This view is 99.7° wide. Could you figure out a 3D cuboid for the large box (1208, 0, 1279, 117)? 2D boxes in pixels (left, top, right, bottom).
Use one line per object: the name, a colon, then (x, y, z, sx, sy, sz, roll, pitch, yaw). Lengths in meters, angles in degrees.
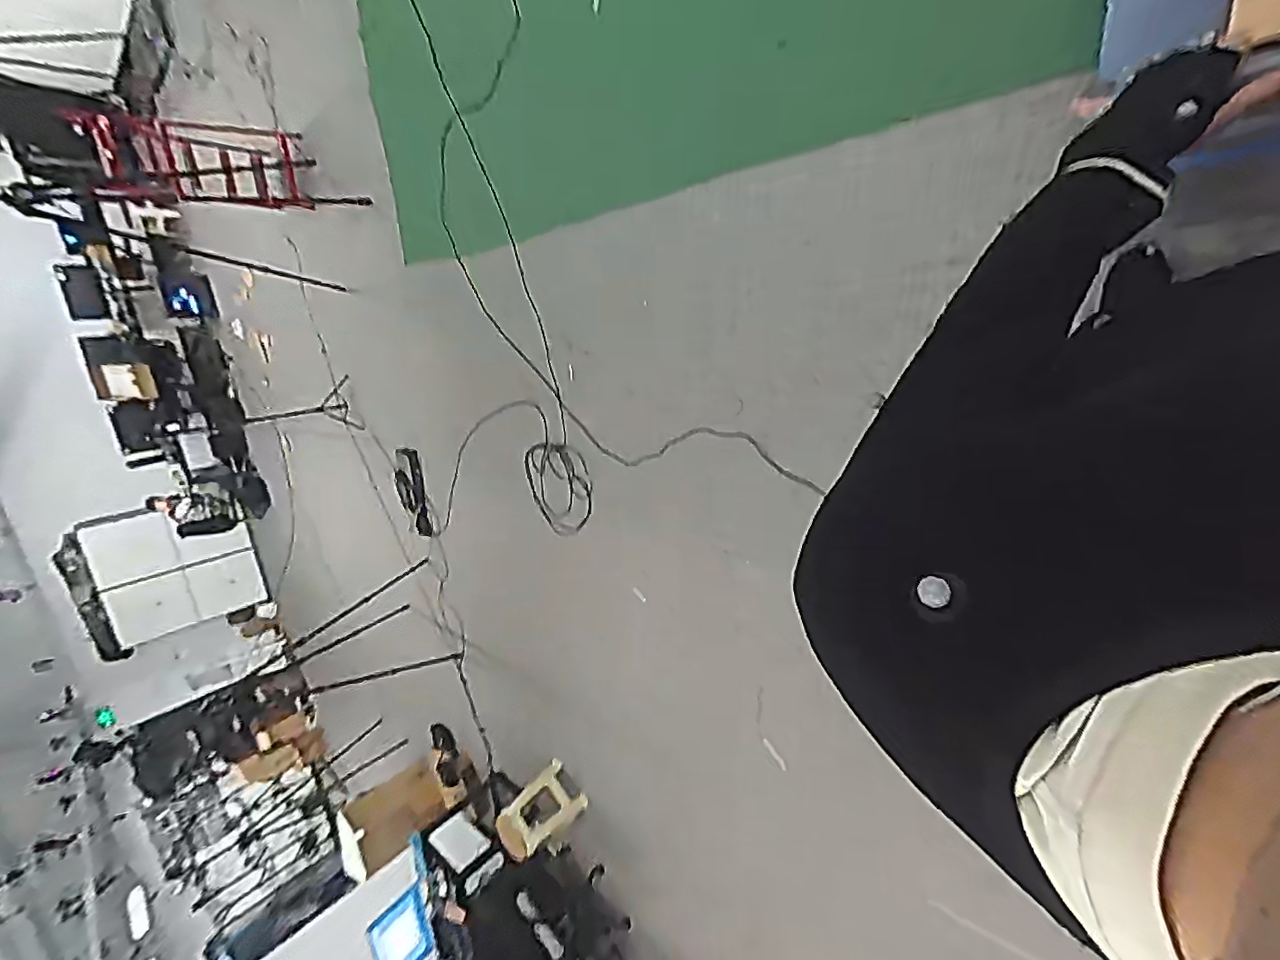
large box: (0.985, -0.769, 0.689, 0.320, 0.320, 0.408, 9, 110, 40)
